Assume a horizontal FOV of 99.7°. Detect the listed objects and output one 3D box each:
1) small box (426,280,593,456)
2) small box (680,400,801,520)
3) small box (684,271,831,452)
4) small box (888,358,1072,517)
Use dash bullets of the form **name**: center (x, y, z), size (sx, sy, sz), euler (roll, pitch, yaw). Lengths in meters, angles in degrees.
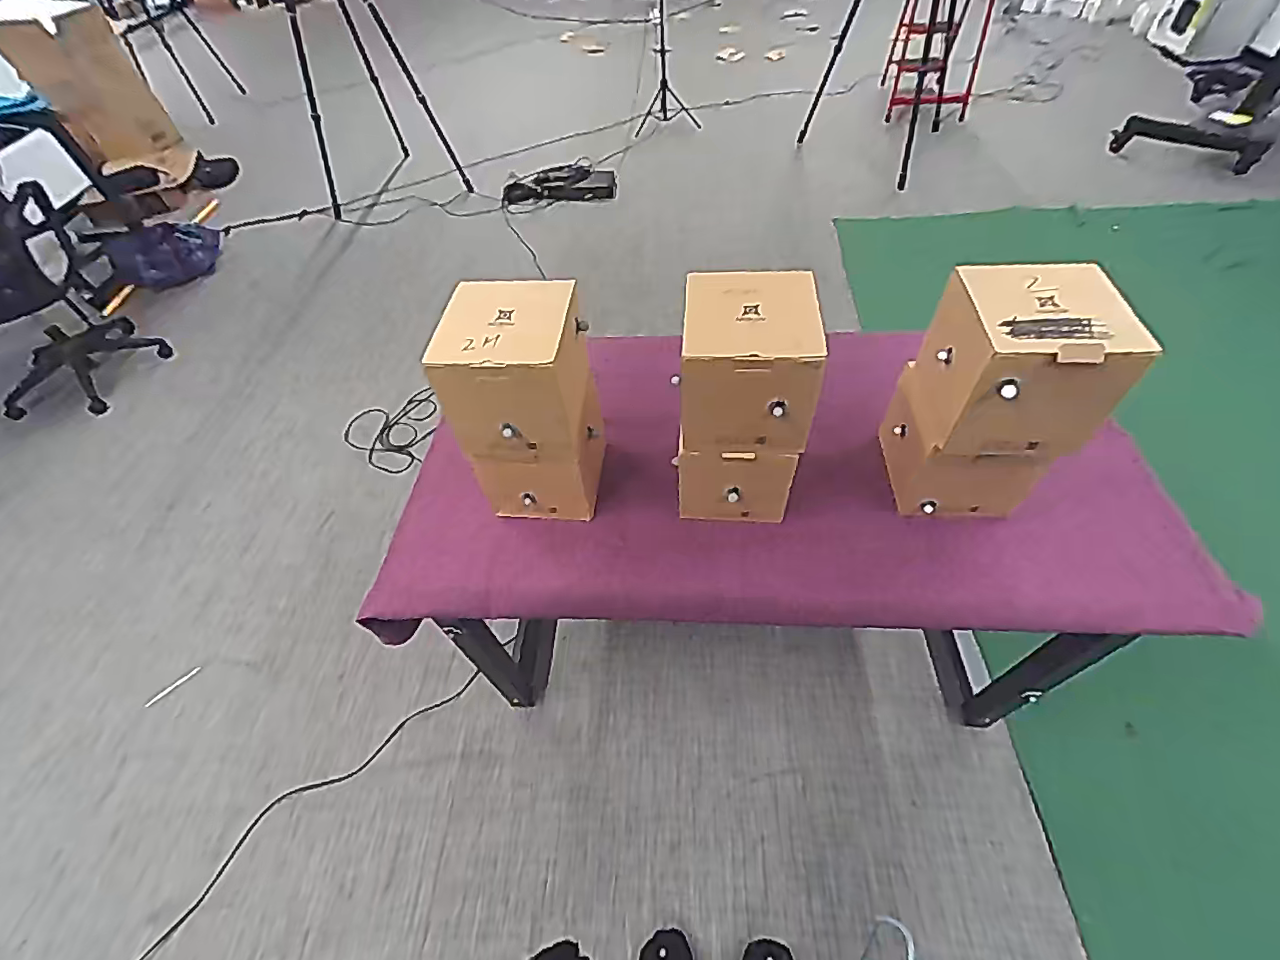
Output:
- **small box**: center (-0.163, -0.154, 0.747), size (0.168, 0.176, 0.179), euler (1, 53, 6)
- **small box**: center (0.153, -0.052, 0.847), size (0.168, 0.176, 0.179), euler (2, 53, 7)
- **small box**: center (0.147, -0.153, 0.718), size (0.168, 0.176, 0.179), euler (2, 53, 7)
- **small box**: center (0.493, -0.060, 0.818), size (0.168, 0.176, 0.179), euler (4, 53, 6)
